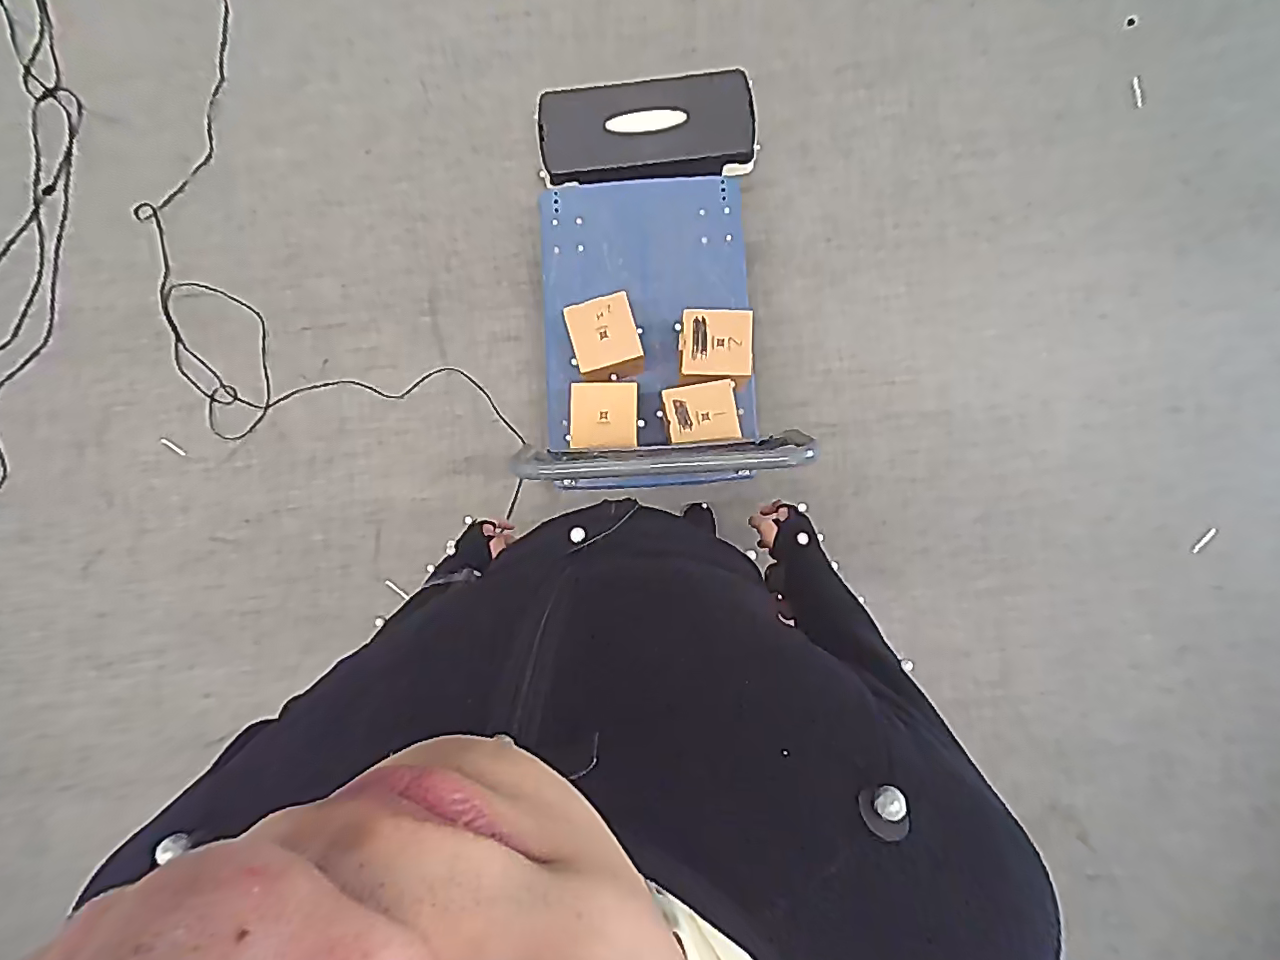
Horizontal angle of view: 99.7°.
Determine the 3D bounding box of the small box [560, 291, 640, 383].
[{"bbox_3d":[-0.099,-0.365,1.421,0.168,0.176,0.179,-16,86,-1],"label":"small box"}]
